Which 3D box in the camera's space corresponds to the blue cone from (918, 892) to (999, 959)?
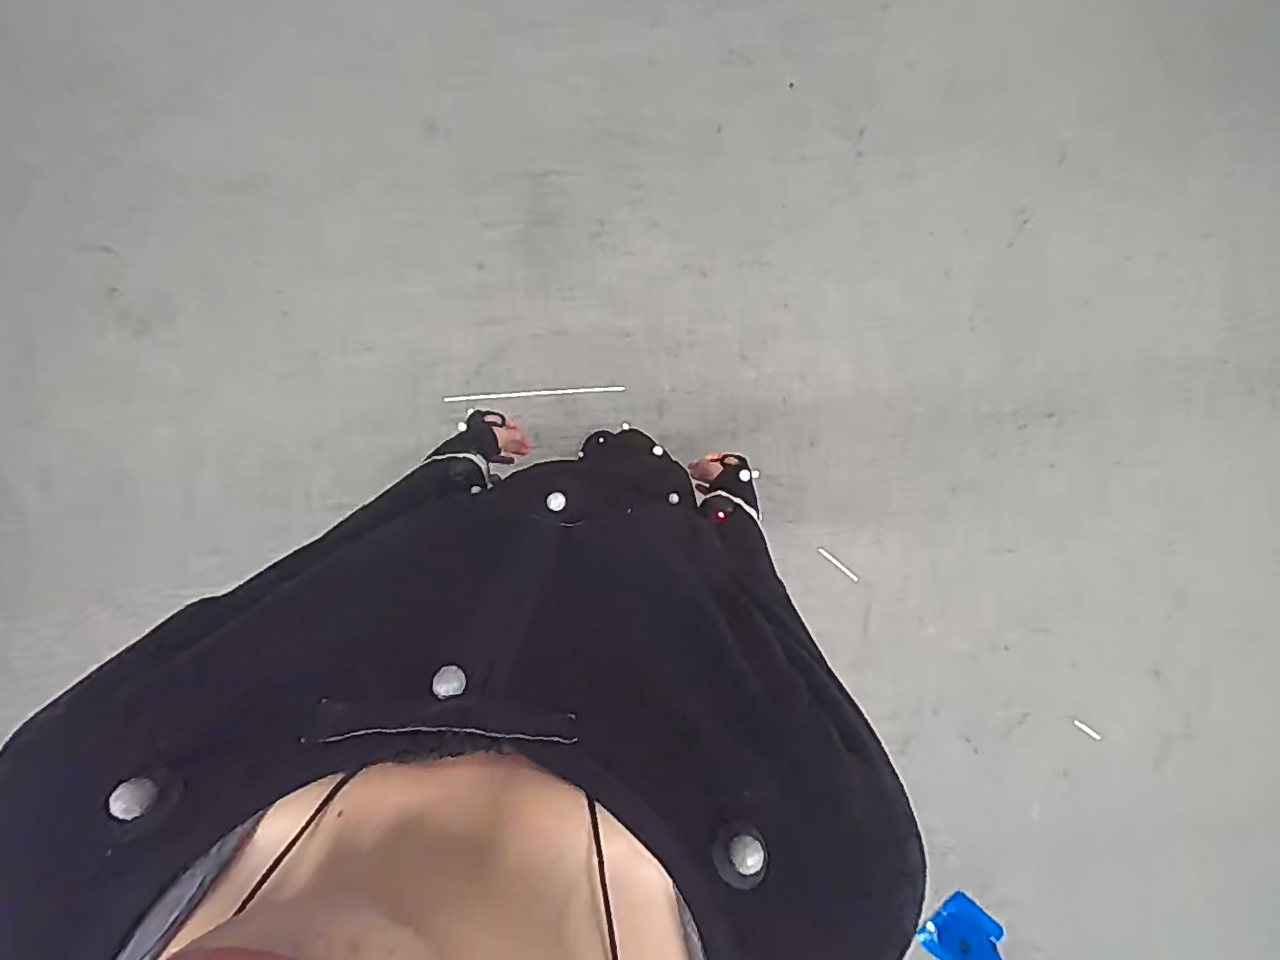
[{"bbox_3d":[0.934,1.329,1.424,0.192,0.380,0.193,41,89,-3],"label":"blue cone"}]
